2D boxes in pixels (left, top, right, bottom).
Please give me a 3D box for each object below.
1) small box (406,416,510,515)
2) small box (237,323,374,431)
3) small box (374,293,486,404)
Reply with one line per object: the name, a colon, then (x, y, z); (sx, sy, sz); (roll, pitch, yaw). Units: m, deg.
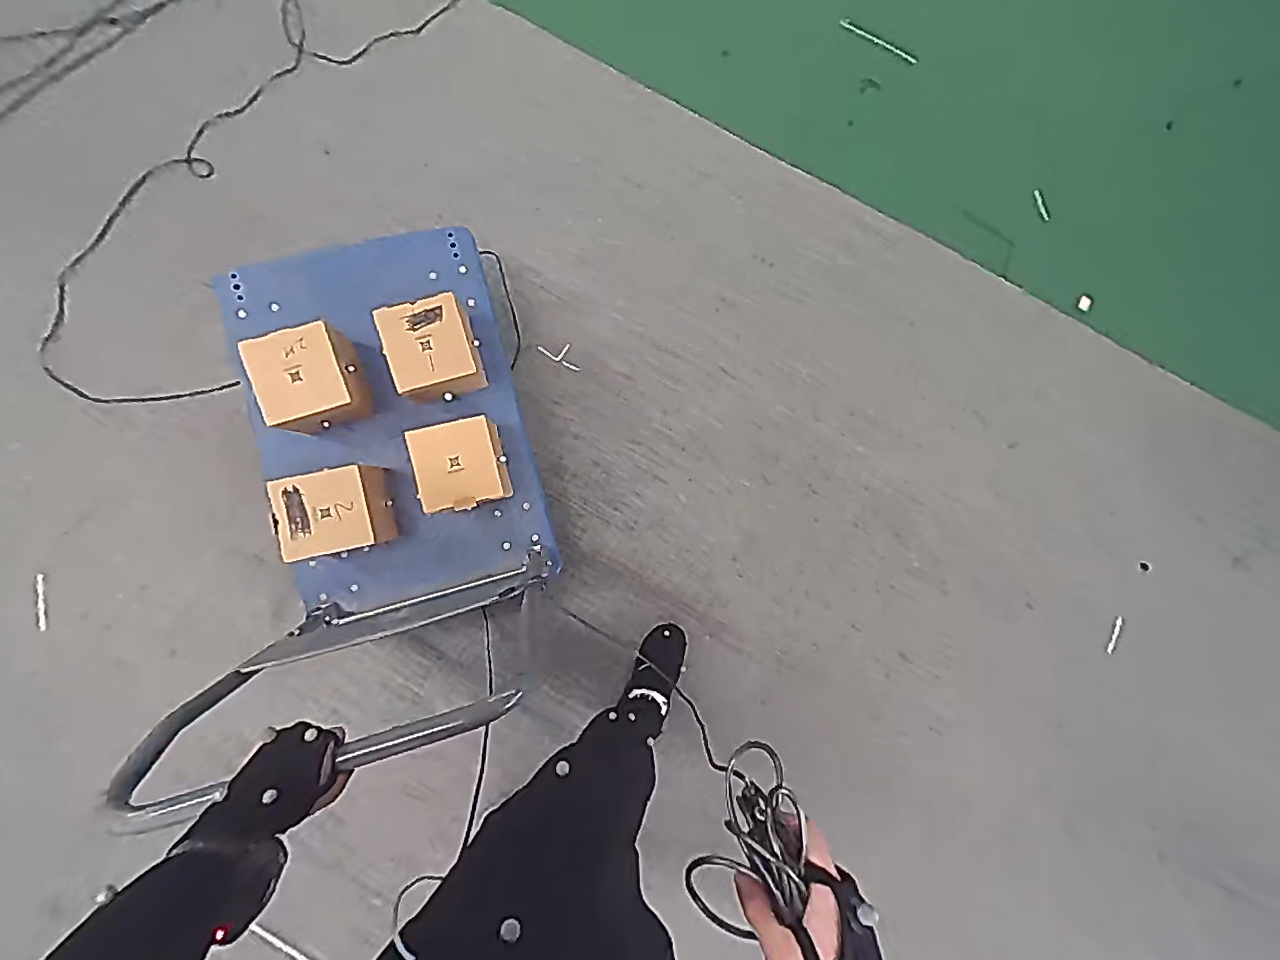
small box: (-0.390, -0.029, 1.183); (0.168, 0.176, 0.179); (-14, 92, -8)
small box: (-0.690, -0.206, 1.138); (0.168, 0.176, 0.179); (-19, 92, -9)
small box: (-0.447, -0.278, 1.174); (0.168, 0.176, 0.179); (-17, 92, -8)
